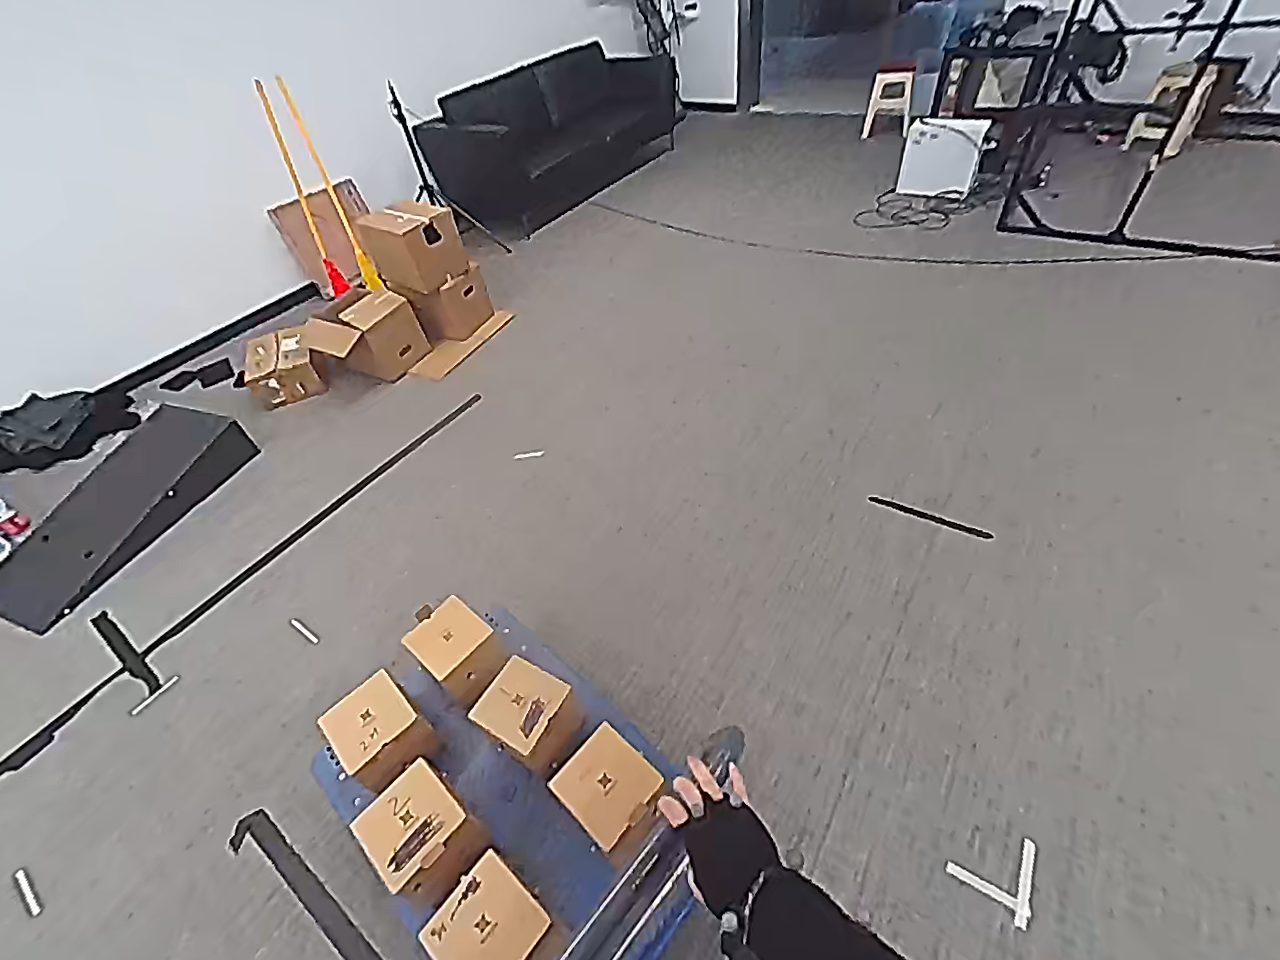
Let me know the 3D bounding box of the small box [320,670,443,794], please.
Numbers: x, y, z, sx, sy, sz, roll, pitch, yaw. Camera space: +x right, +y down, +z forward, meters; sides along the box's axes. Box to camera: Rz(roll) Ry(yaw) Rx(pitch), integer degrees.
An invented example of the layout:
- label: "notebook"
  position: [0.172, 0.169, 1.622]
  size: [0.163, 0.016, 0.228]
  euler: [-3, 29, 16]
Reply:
- label: "small box"
  position: [-0.594, 0.589, 1.257]
  size: [0.179, 0.176, 0.168]
  euler: [32, 58, 31]

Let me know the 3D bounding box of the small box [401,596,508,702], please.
- label: "small box"
  position: [-0.467, 0.439, 1.387]
  size: [0.179, 0.176, 0.168]
  euler: [27, 55, 29]

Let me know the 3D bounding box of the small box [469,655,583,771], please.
- label: "small box"
  position: [-0.254, 0.546, 1.254]
  size: [0.179, 0.176, 0.168]
  euler: [18, 51, 25]

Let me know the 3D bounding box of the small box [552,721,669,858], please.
- label: "small box"
  position: [-0.053, 0.649, 1.128]
  size: [0.179, 0.176, 0.168]
  euler: [30, 56, 32]

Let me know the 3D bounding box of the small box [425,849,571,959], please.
- label: "small box"
  position: [-0.247, 0.823, 0.983]
  size: [0.179, 0.176, 0.168]
  euler: [27, 54, 29]
